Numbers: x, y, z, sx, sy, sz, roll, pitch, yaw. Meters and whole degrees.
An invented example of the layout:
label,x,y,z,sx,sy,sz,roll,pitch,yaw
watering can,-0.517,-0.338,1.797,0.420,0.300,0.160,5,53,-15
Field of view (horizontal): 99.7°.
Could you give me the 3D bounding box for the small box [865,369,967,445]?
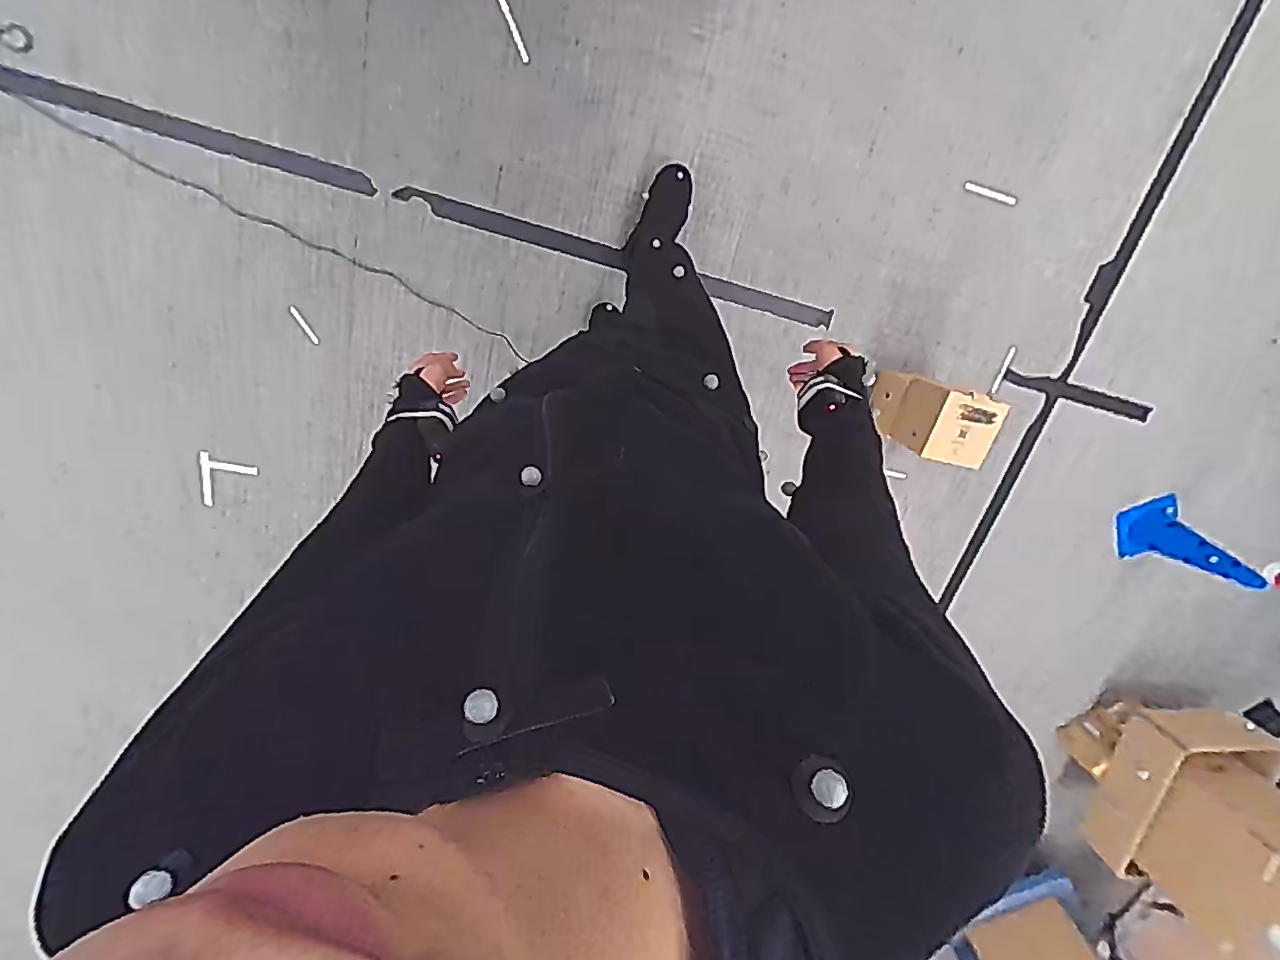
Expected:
label,x,y,z,sx,sy,sz,roll,pitch,yaw
small box,0.779,-0.214,1.550,0.179,0.176,0.168,8,111,-7
